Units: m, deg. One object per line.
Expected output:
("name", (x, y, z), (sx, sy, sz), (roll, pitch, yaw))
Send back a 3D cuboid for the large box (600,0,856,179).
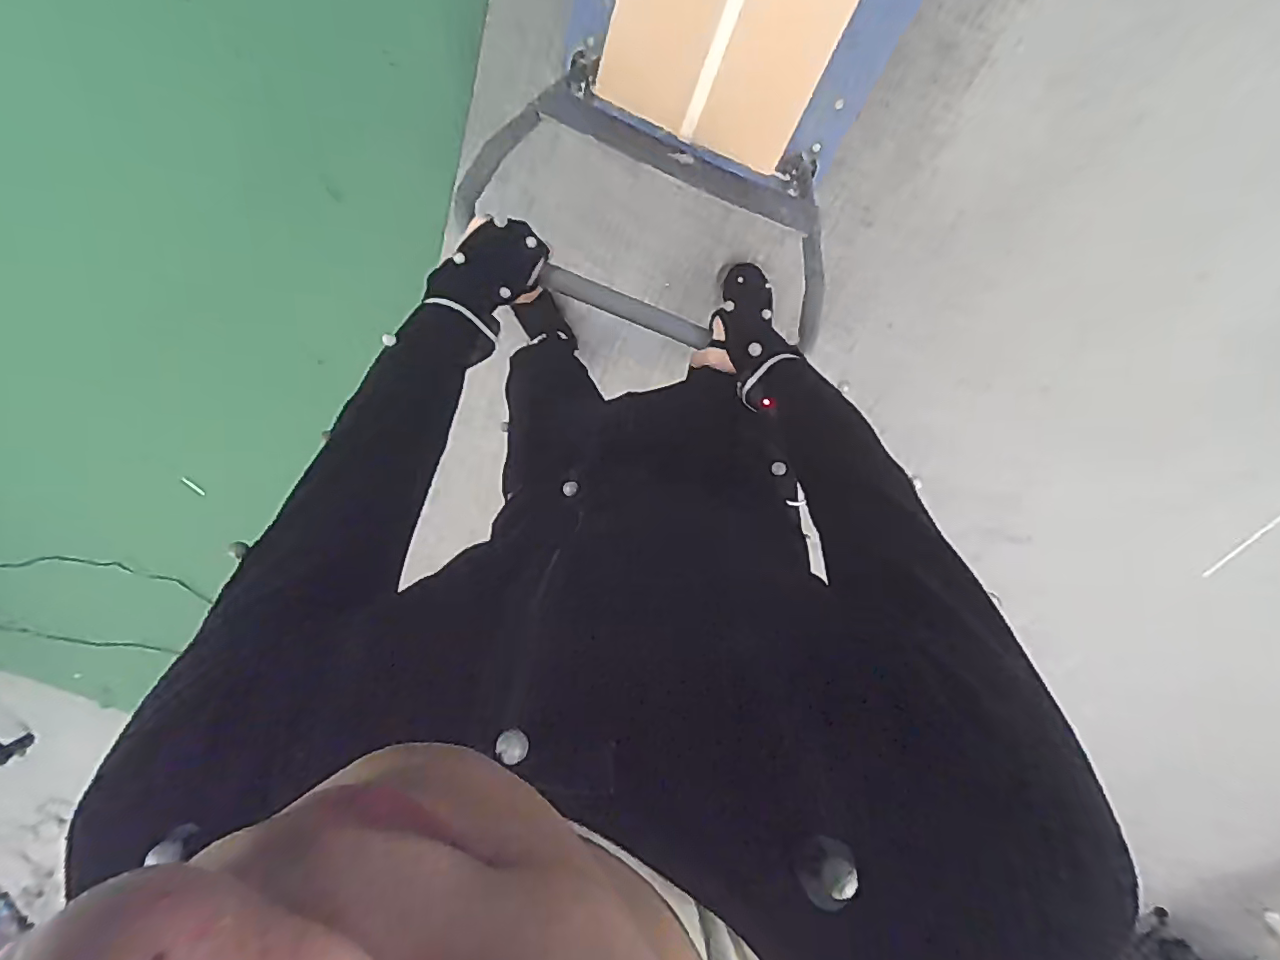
("large box", (0.164, -0.781, 0.860), (0.320, 0.320, 0.408), (21, 133, -8))
